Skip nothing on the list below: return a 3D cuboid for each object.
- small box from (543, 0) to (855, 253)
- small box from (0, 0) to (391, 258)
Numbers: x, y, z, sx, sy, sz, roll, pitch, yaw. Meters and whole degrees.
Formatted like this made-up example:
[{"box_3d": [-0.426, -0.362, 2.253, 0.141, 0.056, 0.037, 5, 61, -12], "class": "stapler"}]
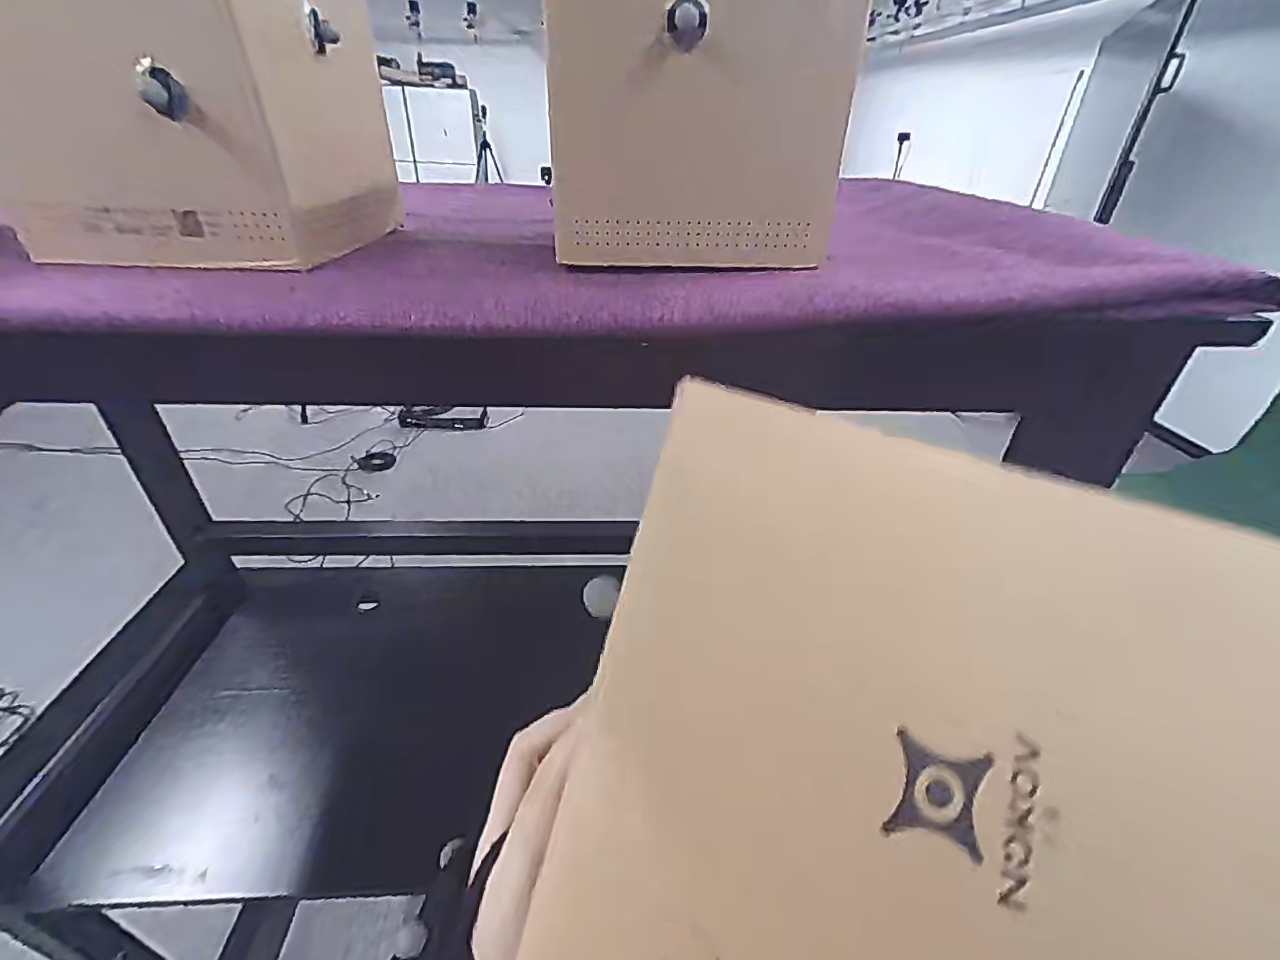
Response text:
[{"box_3d": [0.030, -0.256, 0.371, 0.179, 0.176, 0.168, -1, 31, -4], "class": "small box"}, {"box_3d": [-0.281, -0.247, 0.347, 0.168, 0.176, 0.179, 2, 33, -3], "class": "small box"}]
